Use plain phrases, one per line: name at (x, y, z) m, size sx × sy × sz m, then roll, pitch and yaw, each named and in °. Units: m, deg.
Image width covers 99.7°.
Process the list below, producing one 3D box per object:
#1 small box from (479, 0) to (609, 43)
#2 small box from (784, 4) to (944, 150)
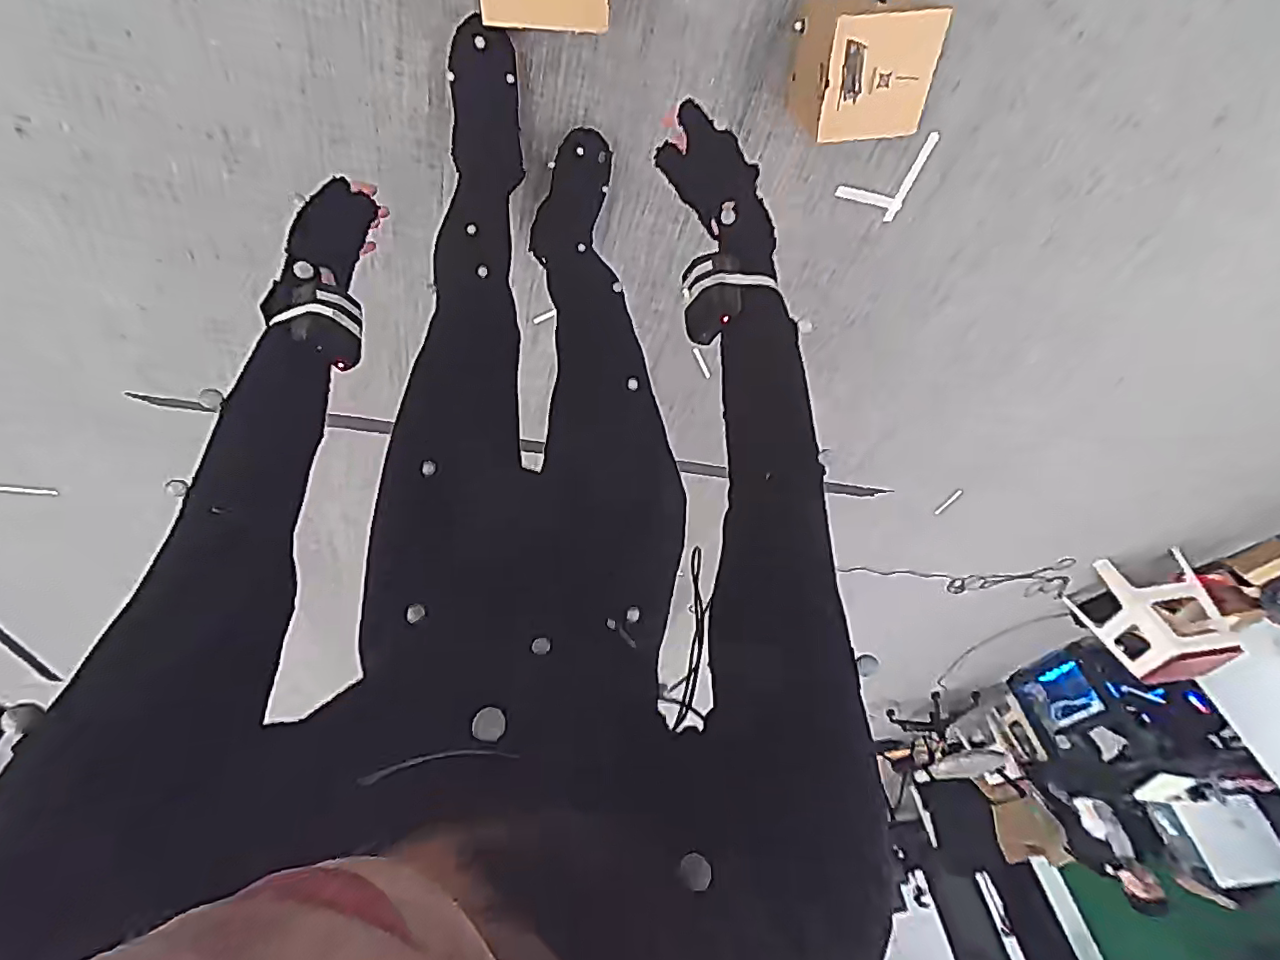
small box at (-0.135, -0.734, 0.752) m, size 0.179 × 0.176 × 0.168 m, roll -2°, pitch 137°, yaw -6°
small box at (0.356, -0.673, 0.902) m, size 0.179 × 0.176 × 0.168 m, roll -6°, pitch 139°, yaw -3°
